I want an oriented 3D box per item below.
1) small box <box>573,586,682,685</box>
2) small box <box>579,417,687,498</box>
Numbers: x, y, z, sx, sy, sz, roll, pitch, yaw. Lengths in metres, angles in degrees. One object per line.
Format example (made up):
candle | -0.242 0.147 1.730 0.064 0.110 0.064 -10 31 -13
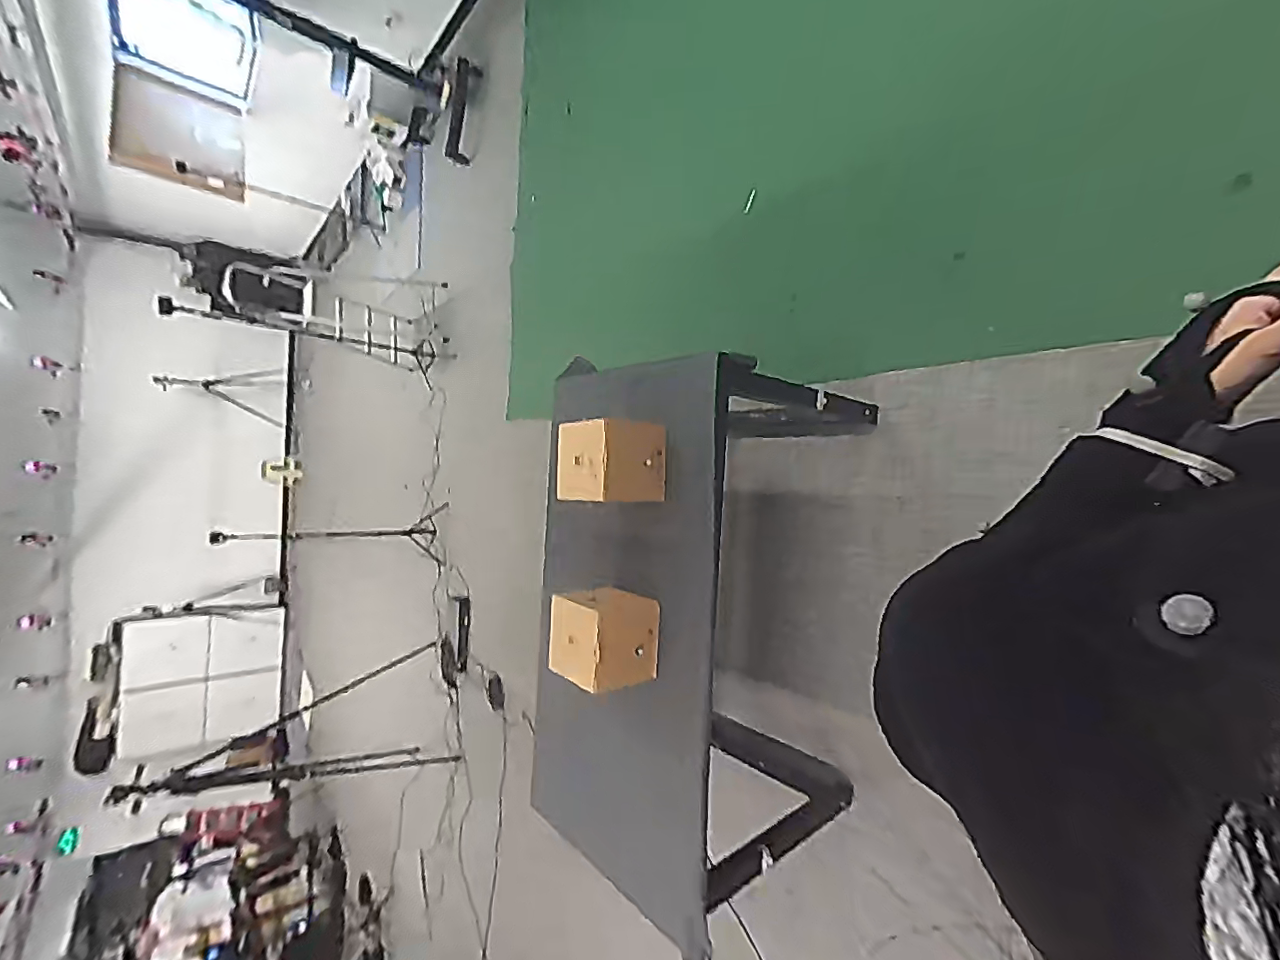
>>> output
small box | -0.030 0.333 1.199 0.179 0.176 0.168 3 90 51
small box | -0.018 -0.045 1.197 0.179 0.176 0.168 0 89 51
